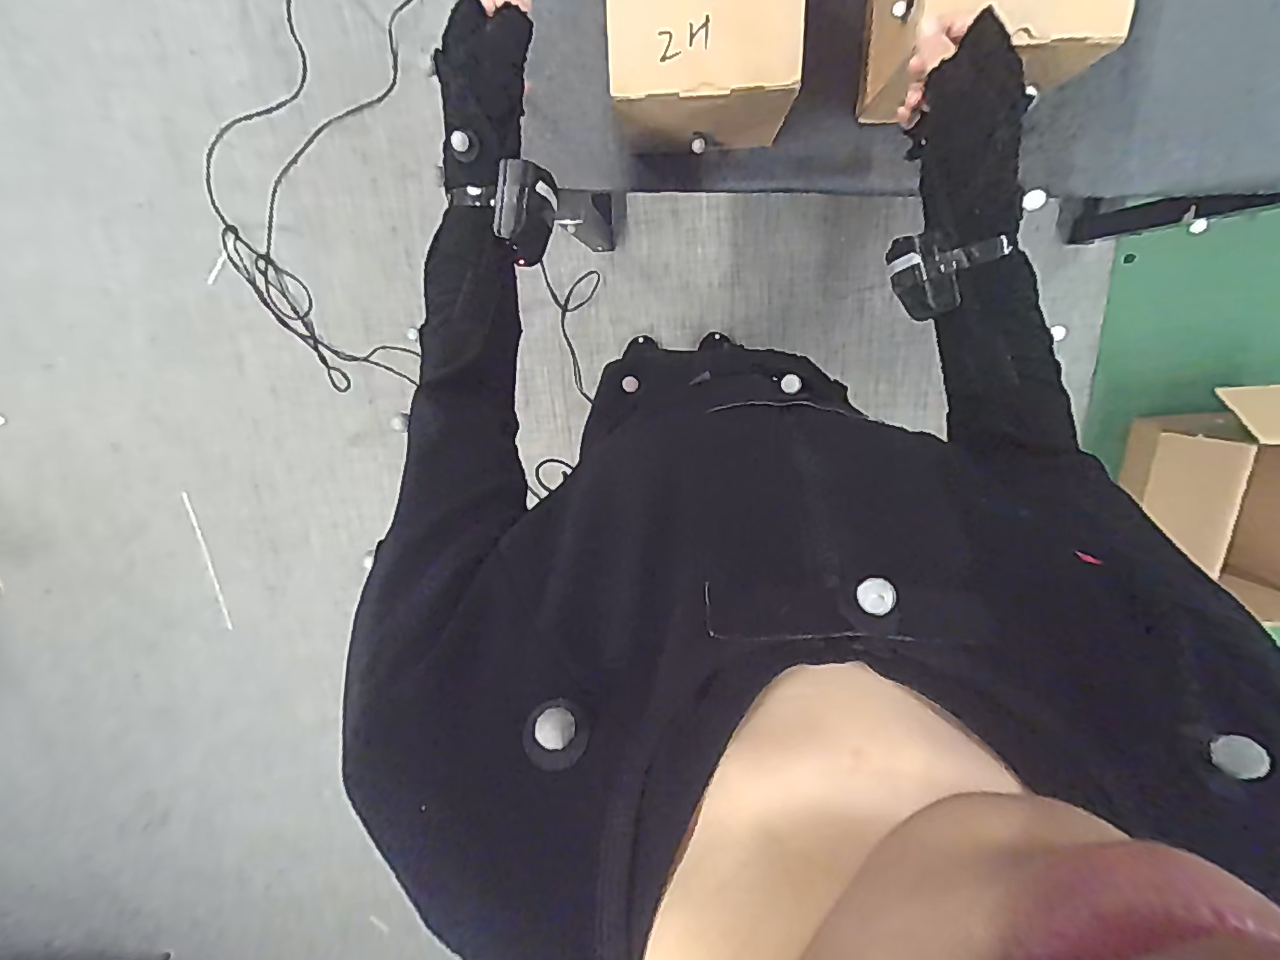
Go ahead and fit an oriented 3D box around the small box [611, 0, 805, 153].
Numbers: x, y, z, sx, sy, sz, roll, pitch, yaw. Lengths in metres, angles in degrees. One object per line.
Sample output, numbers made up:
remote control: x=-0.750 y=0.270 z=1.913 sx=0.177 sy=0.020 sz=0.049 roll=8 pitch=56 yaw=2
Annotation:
small box: x=0.061 y=-0.443 z=0.524 sx=0.168 sy=0.176 sz=0.179 roll=0 pitch=107 yaw=5
